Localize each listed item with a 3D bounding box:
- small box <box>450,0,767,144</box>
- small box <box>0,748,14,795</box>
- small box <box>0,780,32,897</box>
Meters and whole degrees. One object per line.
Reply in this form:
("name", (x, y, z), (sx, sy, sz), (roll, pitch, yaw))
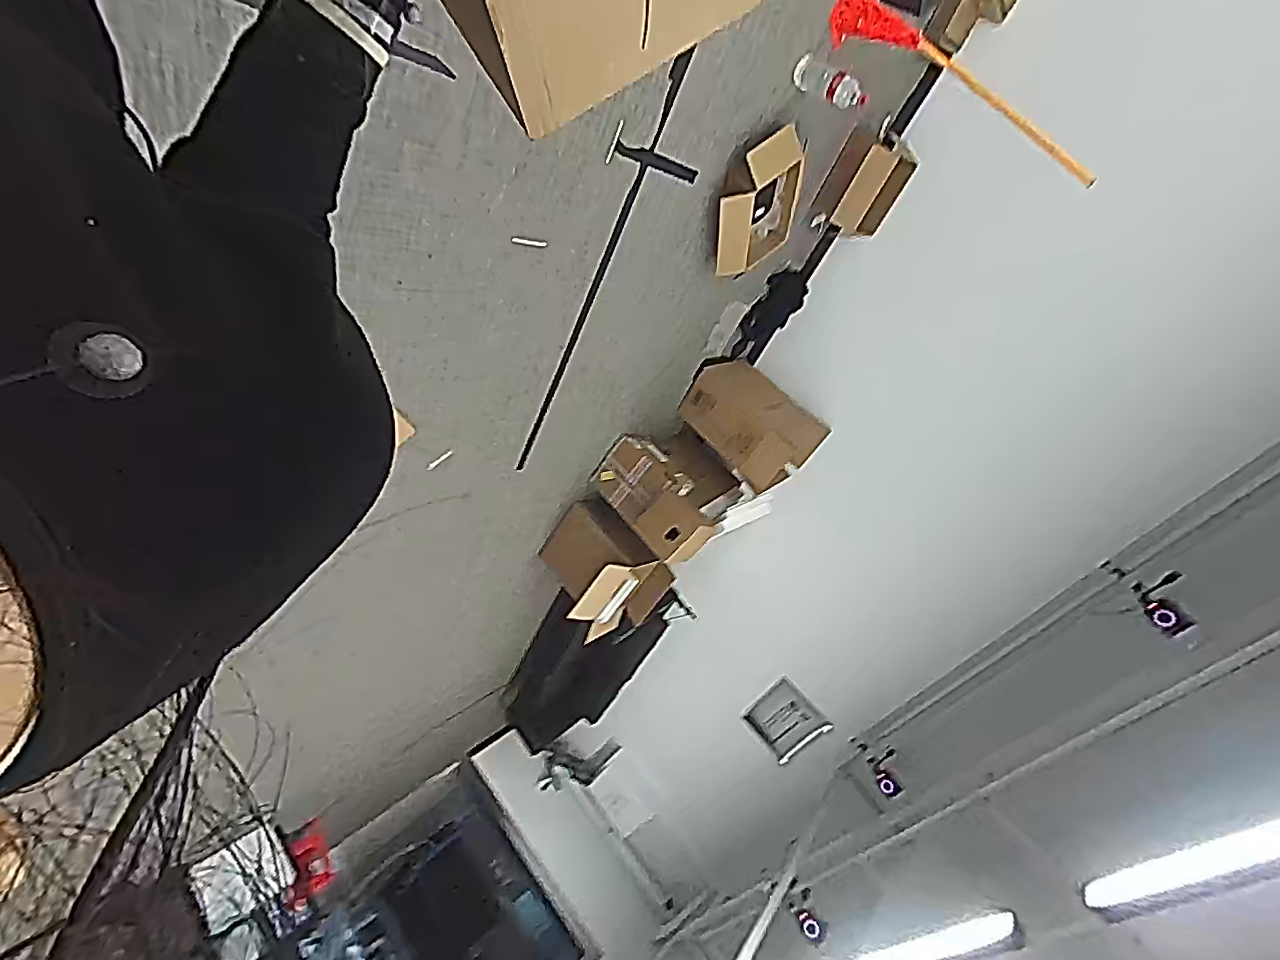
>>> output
("small box", (-0.037, -0.316, 0.245), (0.168, 0.176, 0.179), (-32, 178, -1))
("small box", (-1.399, 0.594, 1.071), (0.179, 0.176, 0.168), (-19, 148, -52))
("small box", (-1.294, 0.713, 1.023), (0.168, 0.176, 0.179), (-16, 146, -54))
